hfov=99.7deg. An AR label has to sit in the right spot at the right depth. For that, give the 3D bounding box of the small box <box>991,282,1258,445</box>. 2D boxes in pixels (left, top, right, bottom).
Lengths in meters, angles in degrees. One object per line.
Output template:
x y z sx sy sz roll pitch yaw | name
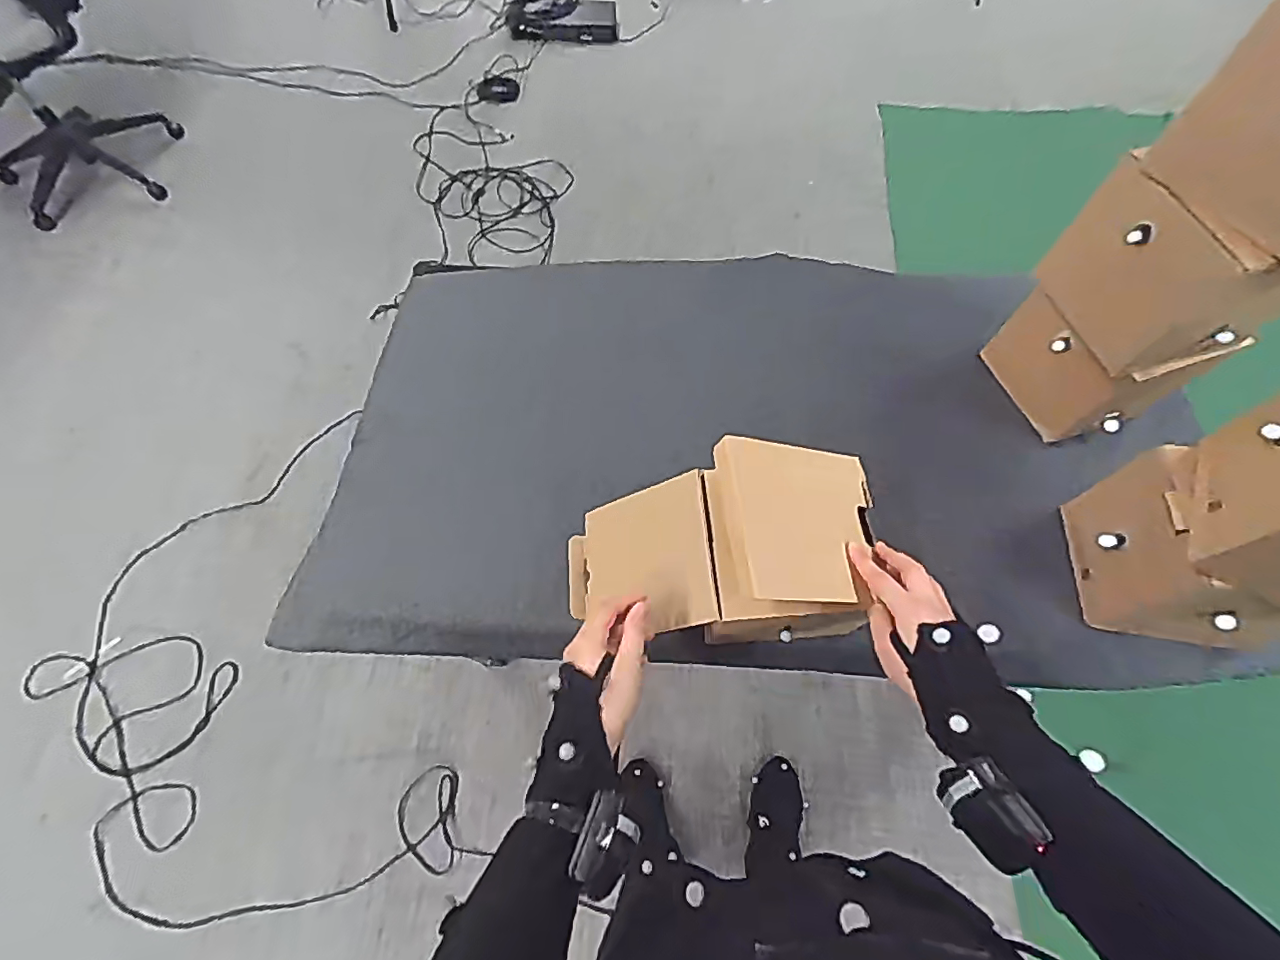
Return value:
0.633 -0.176 0.739 0.168 0.176 0.179 -18 68 -4 | small box

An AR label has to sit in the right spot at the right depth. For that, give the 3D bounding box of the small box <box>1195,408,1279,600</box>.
0.641 0.024 0.460 0.179 0.176 0.168 28 65 14 | small box

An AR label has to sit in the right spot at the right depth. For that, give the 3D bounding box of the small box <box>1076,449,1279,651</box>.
0.641 0.086 0.612 0.179 0.176 0.168 8 62 6 | small box

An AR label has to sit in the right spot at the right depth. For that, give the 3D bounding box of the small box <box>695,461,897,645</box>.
0.160 0.091 0.621 0.179 0.176 0.168 -5 65 2 | small box

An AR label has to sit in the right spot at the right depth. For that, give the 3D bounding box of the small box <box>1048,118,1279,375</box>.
0.605 -0.245 0.590 0.168 0.176 0.179 -15 66 -2 | small box
